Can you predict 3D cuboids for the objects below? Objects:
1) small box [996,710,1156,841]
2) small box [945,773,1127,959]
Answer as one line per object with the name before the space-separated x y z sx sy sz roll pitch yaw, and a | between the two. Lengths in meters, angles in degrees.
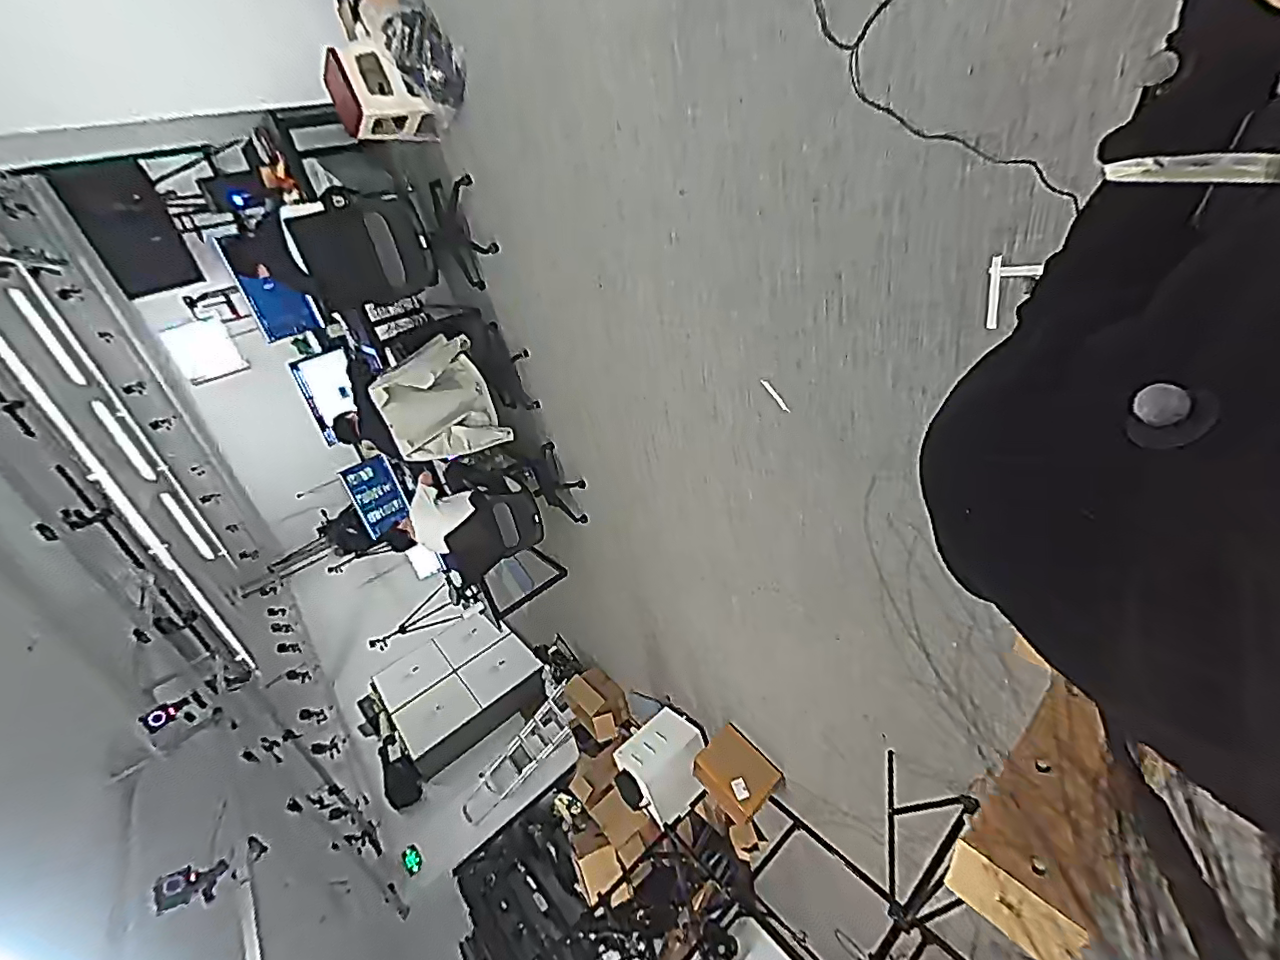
small box | 0.758 0.543 0.959 0.179 0.176 0.168 26 137 44
small box | 0.637 0.617 0.880 0.179 0.176 0.168 26 137 44
